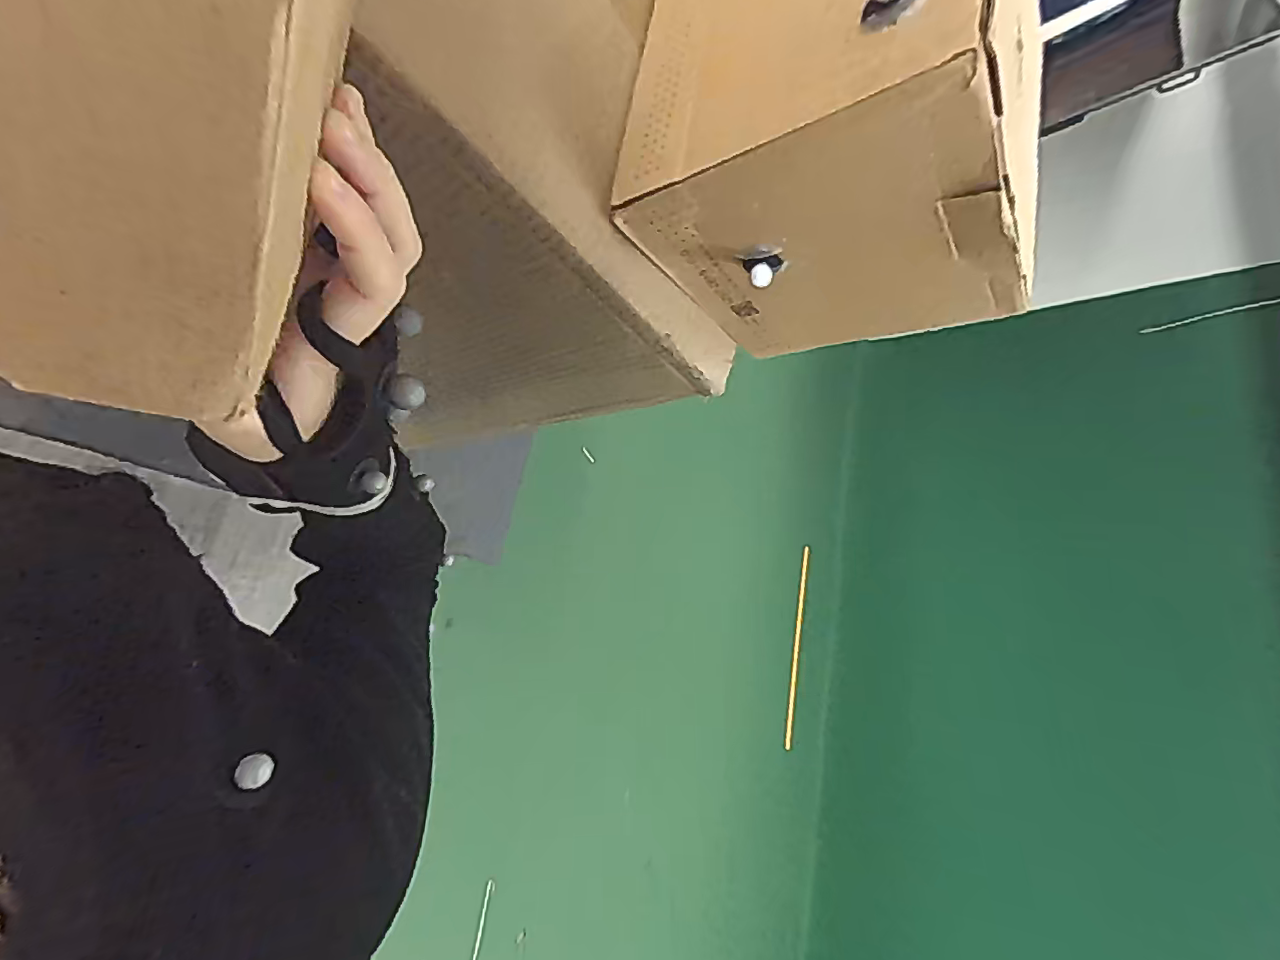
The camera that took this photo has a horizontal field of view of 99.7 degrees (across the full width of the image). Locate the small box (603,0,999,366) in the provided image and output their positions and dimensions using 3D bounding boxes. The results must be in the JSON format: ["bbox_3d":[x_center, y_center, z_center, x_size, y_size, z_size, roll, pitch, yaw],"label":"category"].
[{"bbox_3d":[0.100,-0.184,0.315,0.168,0.176,0.179,26,73,-49],"label":"small box"}]
